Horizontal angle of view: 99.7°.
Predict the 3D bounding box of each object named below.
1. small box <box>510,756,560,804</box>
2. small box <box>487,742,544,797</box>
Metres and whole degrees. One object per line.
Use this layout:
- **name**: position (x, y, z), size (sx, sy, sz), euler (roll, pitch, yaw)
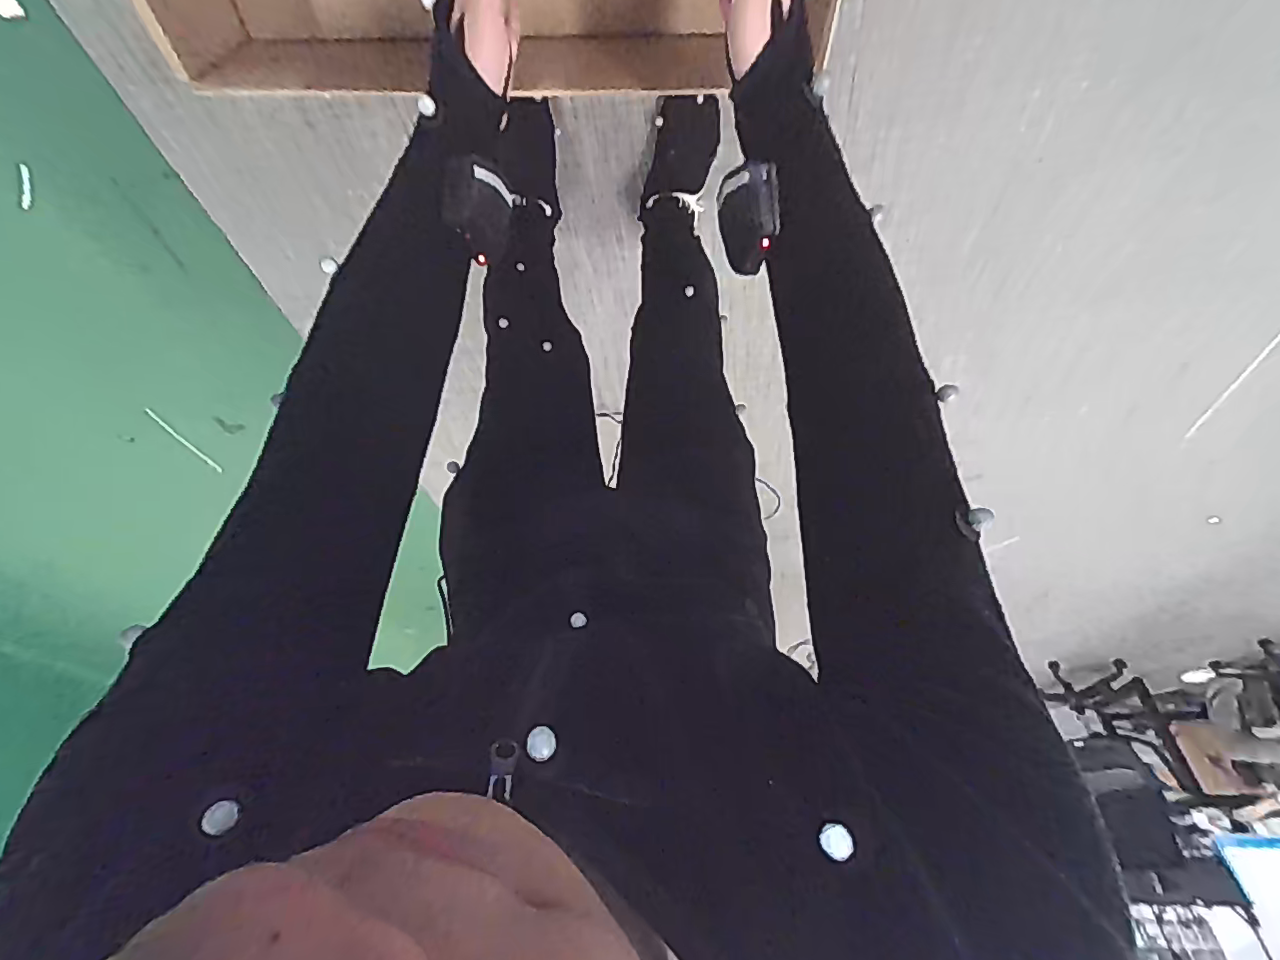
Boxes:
- **small box**: position (-0.451, 1.305, 2.353), size (0.168, 0.176, 0.179), euler (-4, 144, 5)
- **small box**: position (-0.478, 1.127, 2.105), size (0.168, 0.176, 0.179), euler (-6, 144, 6)
